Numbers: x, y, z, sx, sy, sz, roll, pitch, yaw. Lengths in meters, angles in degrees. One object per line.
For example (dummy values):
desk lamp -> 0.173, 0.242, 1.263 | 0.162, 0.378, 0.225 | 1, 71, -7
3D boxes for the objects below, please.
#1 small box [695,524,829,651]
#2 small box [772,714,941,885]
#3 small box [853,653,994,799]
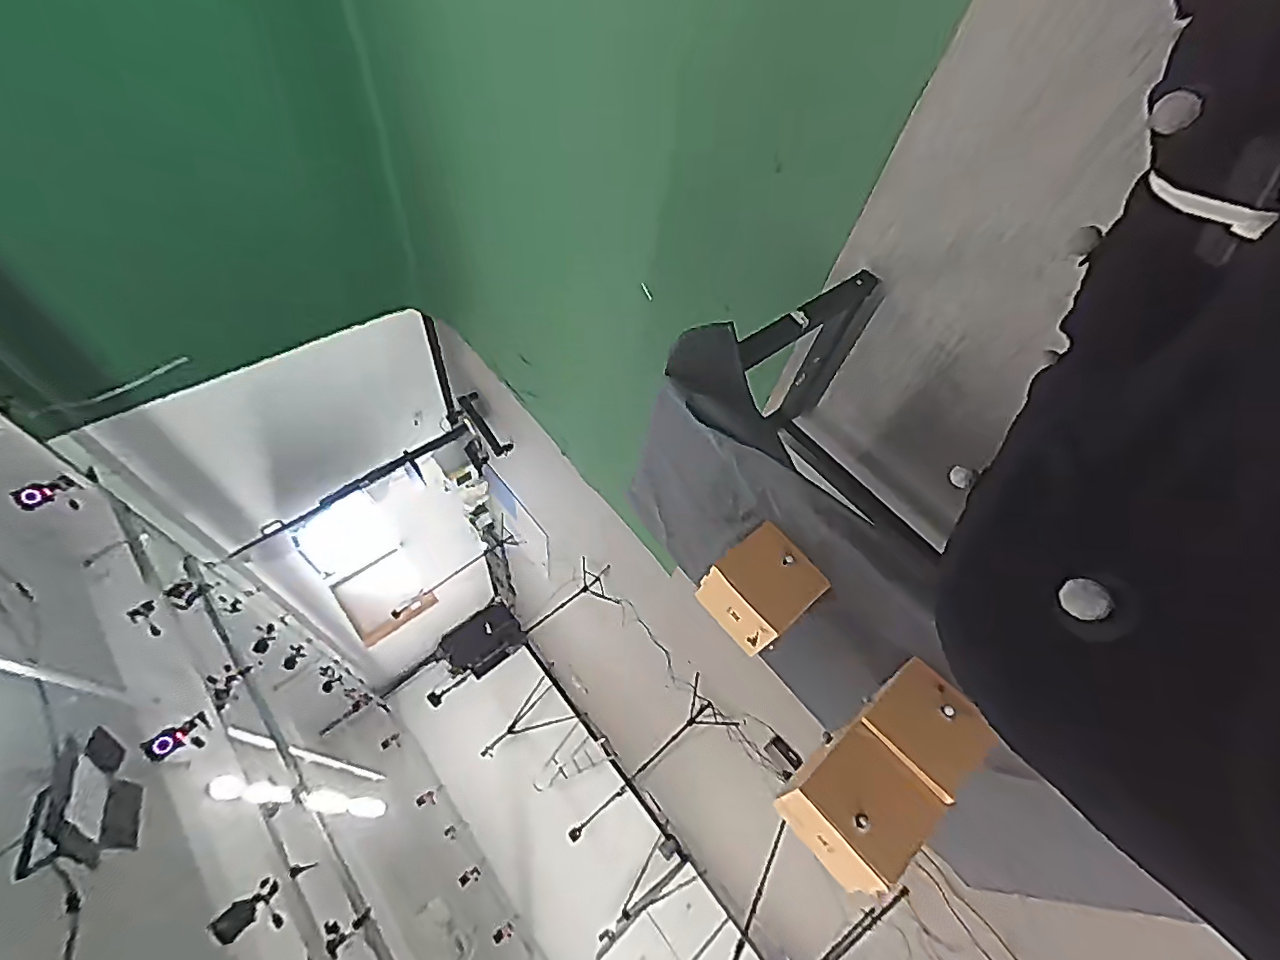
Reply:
small box -> 0.247, 0.214, 1.112 | 0.179, 0.176, 0.168 | 48, 153, 19
small box -> 0.360, 0.534, 0.909 | 0.179, 0.176, 0.168 | 45, 150, 25
small box -> 0.486, 0.448, 0.966 | 0.168, 0.176, 0.179 | 41, 150, 28
